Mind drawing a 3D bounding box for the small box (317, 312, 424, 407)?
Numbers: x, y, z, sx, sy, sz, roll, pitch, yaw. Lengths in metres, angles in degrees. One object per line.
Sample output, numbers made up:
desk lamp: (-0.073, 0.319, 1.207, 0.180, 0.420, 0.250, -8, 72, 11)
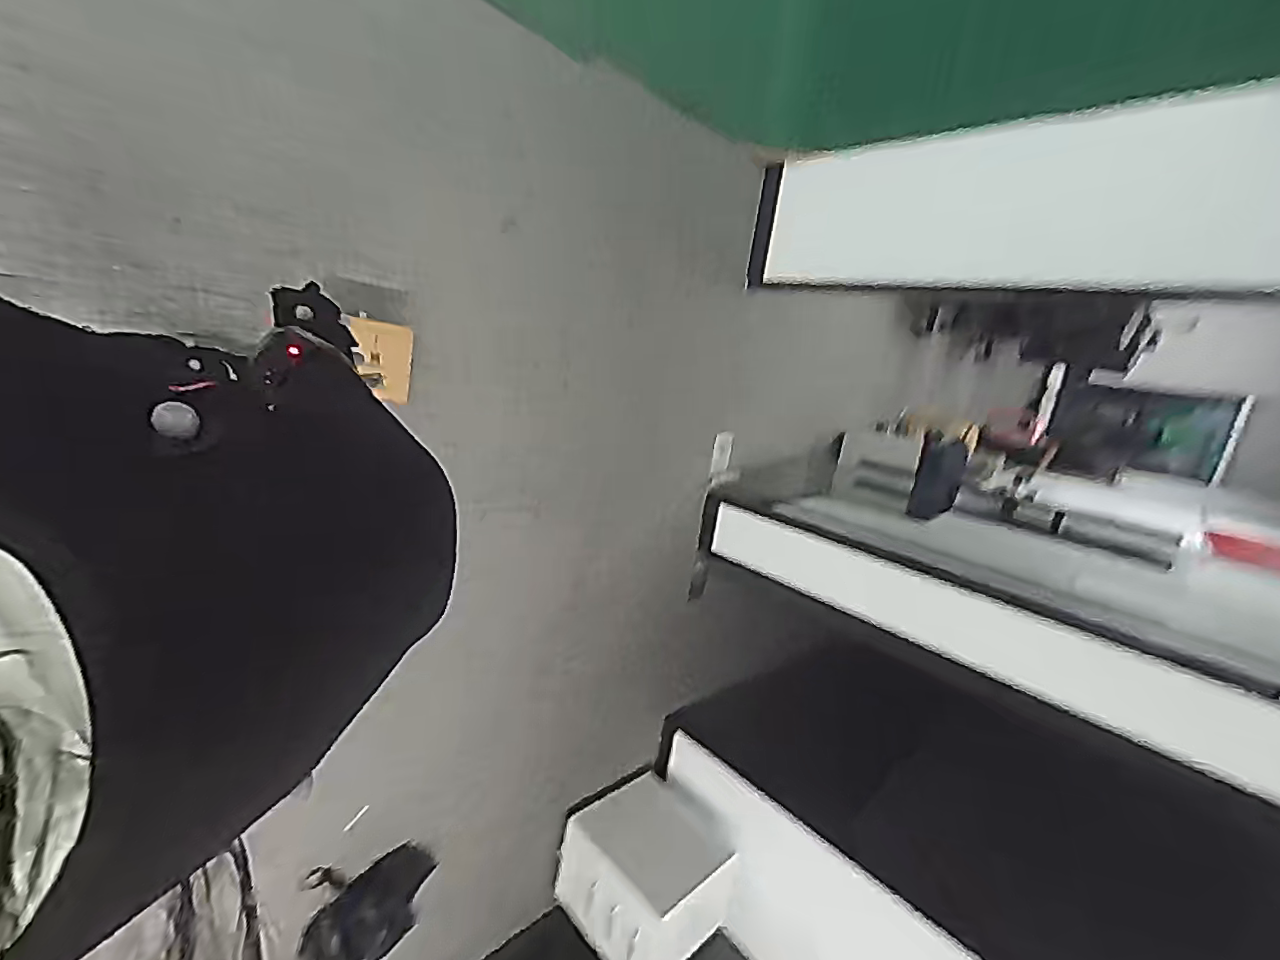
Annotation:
small box: (-0.636, -0.282, 1.267, 0.168, 0.176, 0.179, 4, 102, -48)
